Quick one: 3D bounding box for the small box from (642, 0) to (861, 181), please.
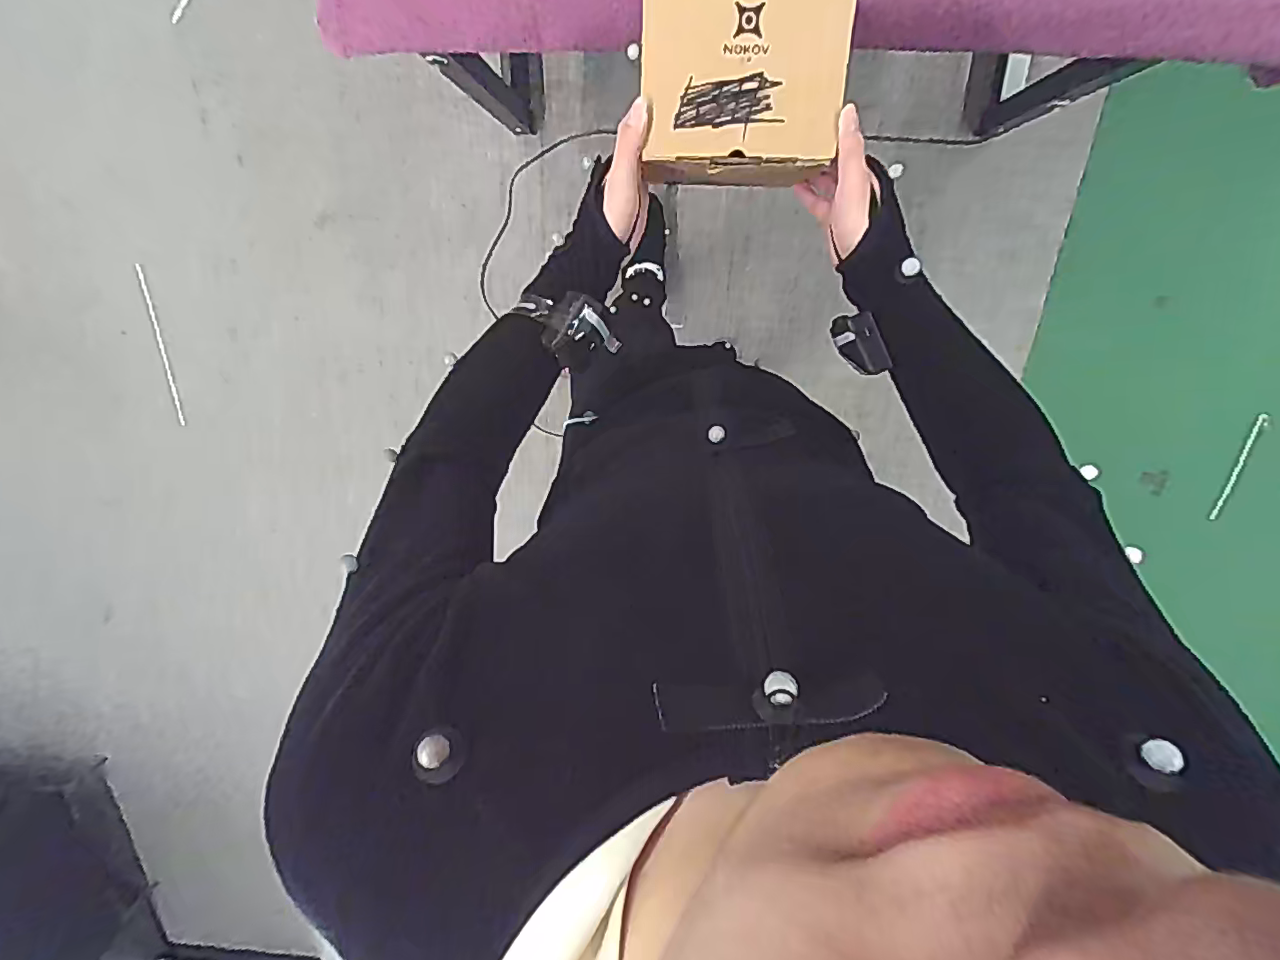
[{"bbox_3d":[0.088,-0.381,0.493,0.168,0.176,0.179,2,112,0],"label":"small box"}]

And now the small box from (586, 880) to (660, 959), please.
[{"bbox_3d":[-0.042,1.184,1.406,0.179,0.176,0.168,7,109,3],"label":"small box"}]
